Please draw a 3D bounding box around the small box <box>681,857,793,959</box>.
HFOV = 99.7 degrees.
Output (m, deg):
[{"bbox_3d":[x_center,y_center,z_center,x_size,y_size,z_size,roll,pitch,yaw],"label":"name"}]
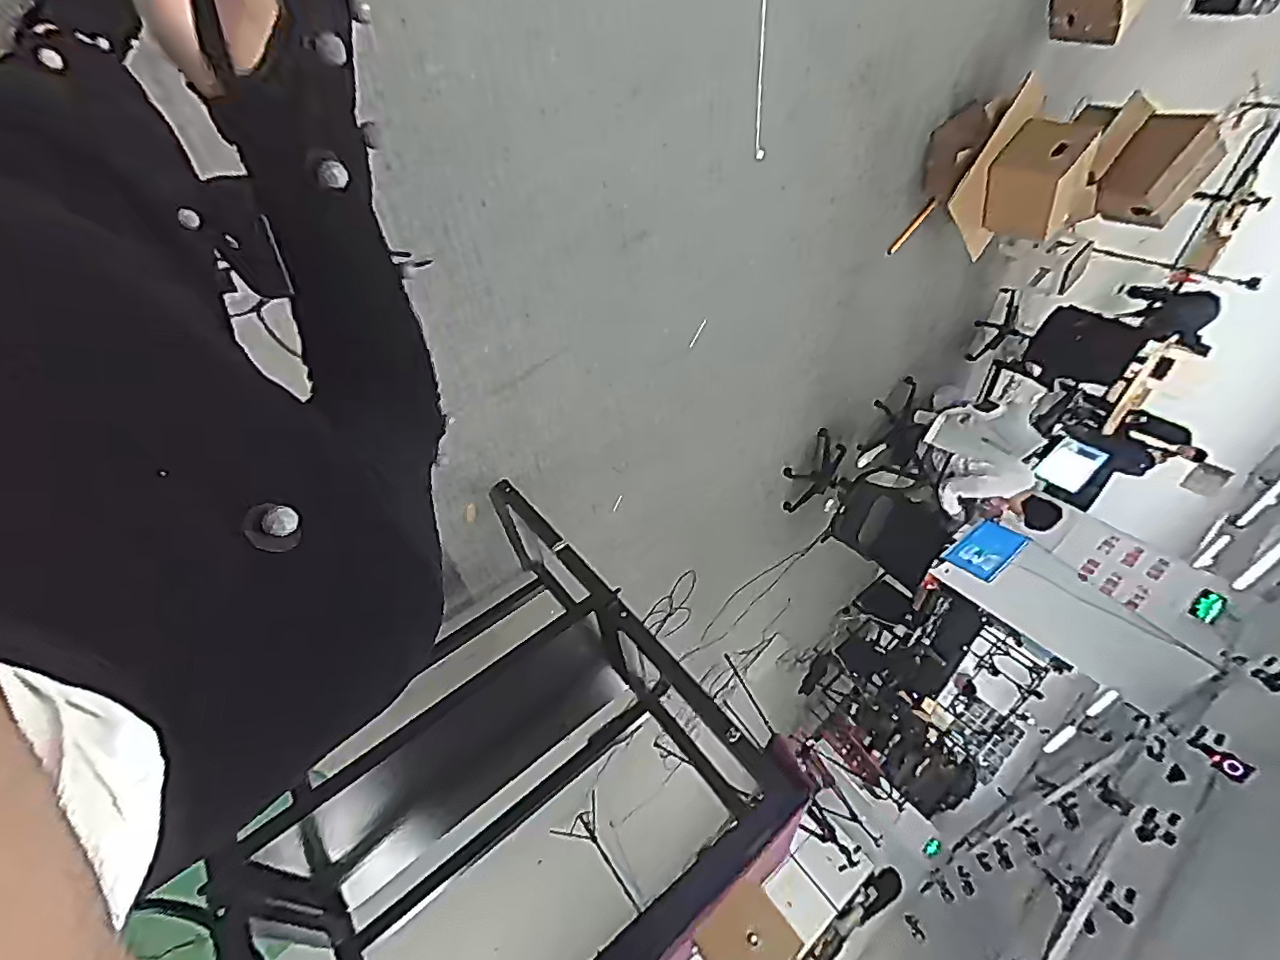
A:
[{"bbox_3d":[0.204,0.981,1.185,0.179,0.176,0.168,-32,141,-24],"label":"small box"}]
